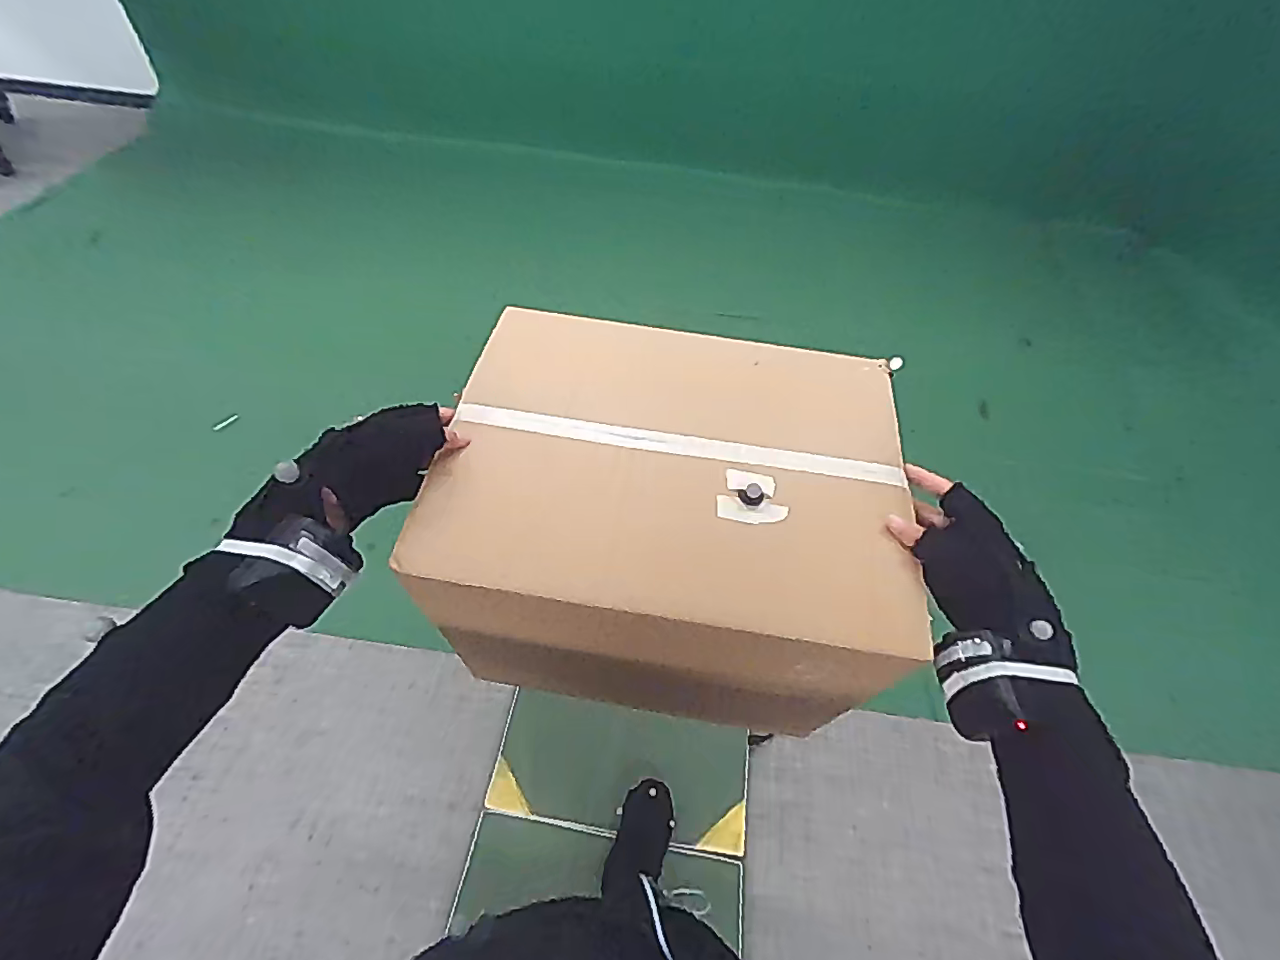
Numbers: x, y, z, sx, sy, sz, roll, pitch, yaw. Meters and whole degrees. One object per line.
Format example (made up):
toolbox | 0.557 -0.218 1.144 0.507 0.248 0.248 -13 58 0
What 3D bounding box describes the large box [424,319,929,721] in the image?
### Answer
large box | 0.034 0.058 0.621 0.408 0.320 0.320 9 56 2
